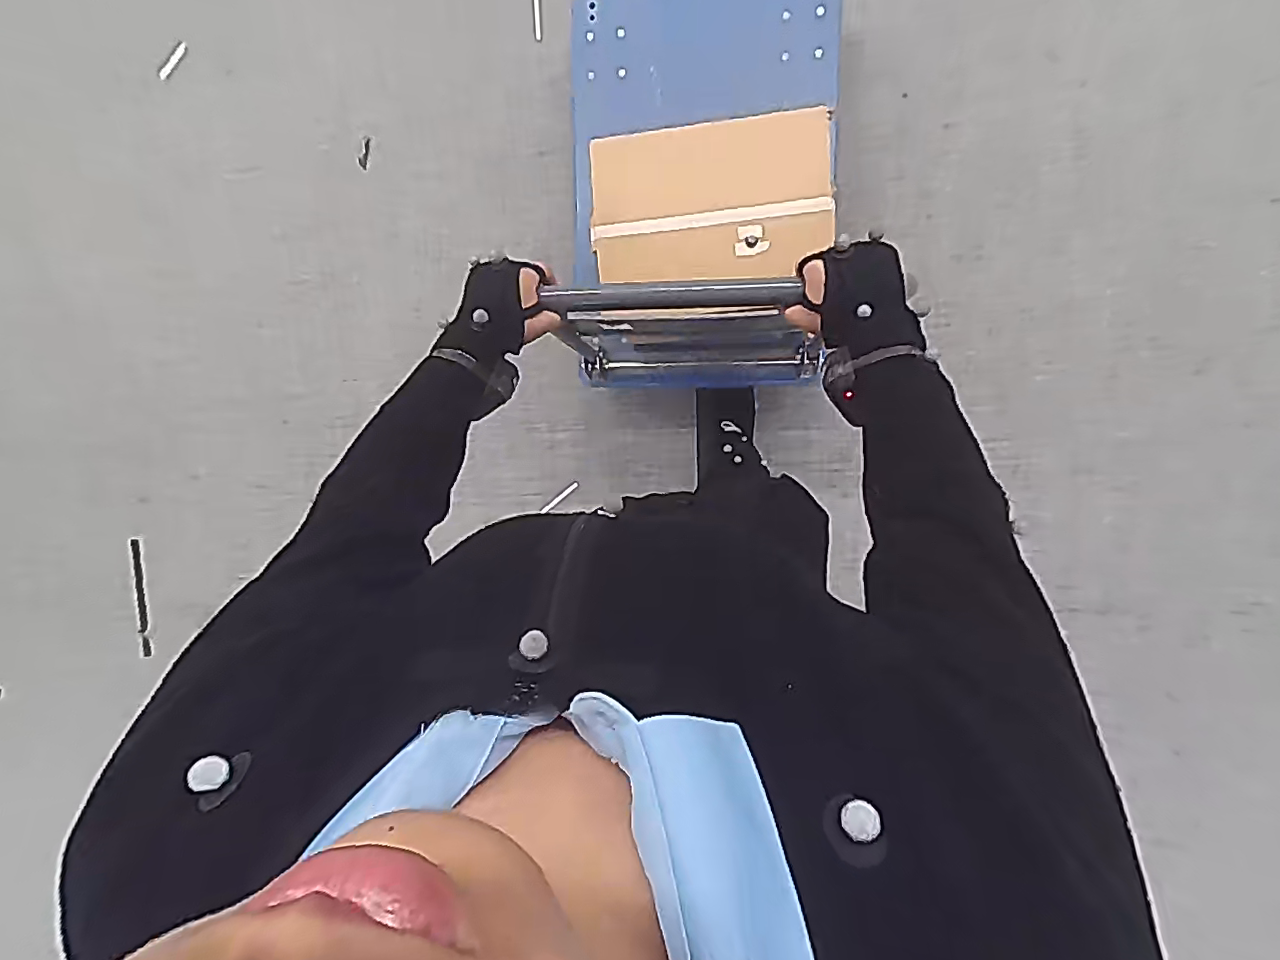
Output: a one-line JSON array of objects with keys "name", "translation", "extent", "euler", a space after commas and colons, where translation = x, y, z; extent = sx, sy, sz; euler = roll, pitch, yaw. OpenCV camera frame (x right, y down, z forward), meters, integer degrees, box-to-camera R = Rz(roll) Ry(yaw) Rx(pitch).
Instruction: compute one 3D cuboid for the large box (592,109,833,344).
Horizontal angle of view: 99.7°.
[{"name": "large box", "translation": [0.140, -0.468, 1.086], "extent": [0.408, 0.320, 0.320], "euler": [-3, 96, 7]}]
